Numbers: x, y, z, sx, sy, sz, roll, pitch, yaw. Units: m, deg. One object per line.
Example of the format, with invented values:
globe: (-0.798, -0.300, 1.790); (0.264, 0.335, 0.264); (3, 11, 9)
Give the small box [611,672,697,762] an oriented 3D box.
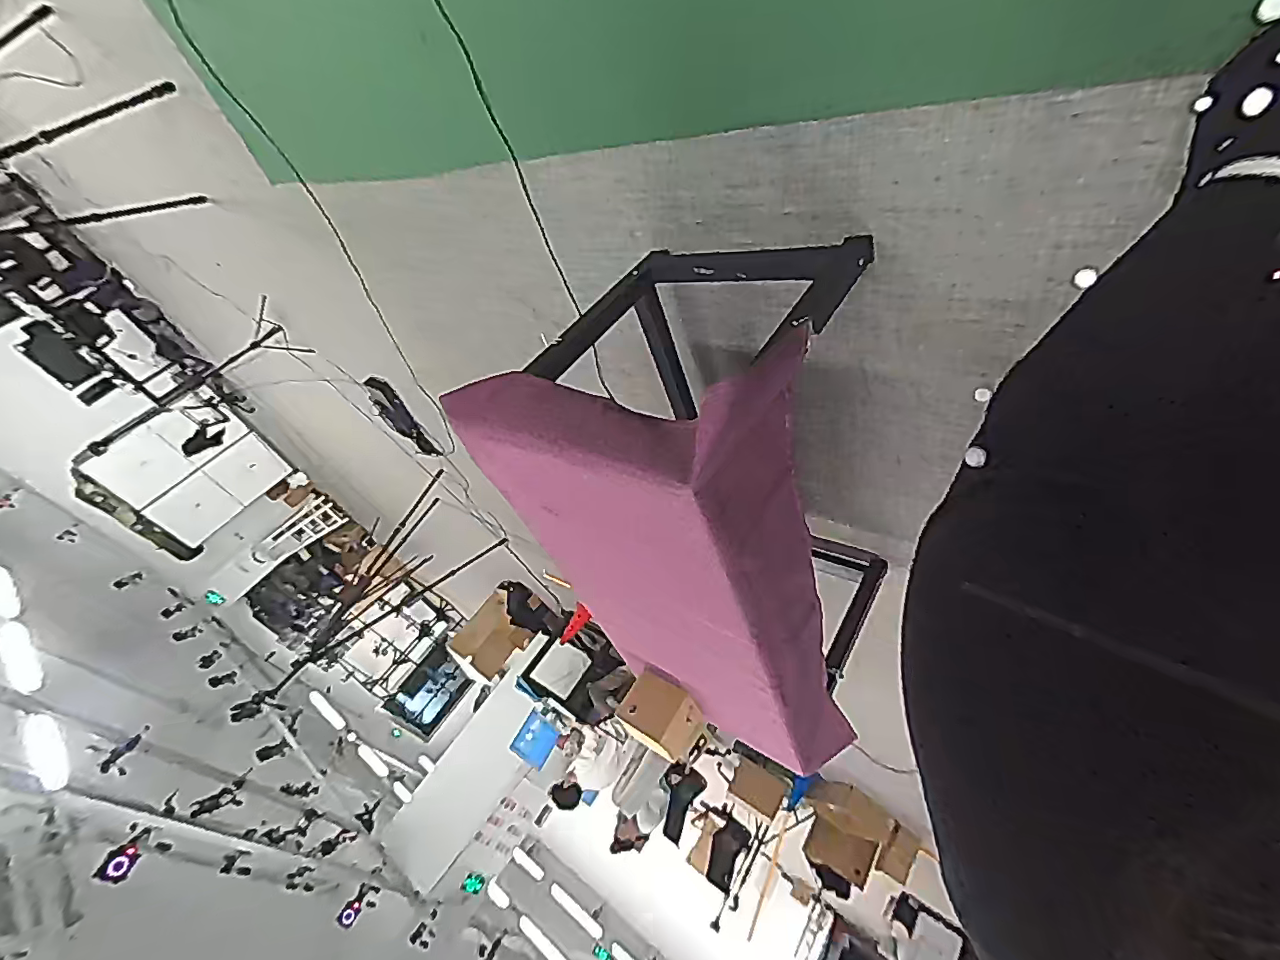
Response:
small box: (0.047, 0.717, 1.656); (0.179, 0.176, 0.168); (16, 145, 37)
